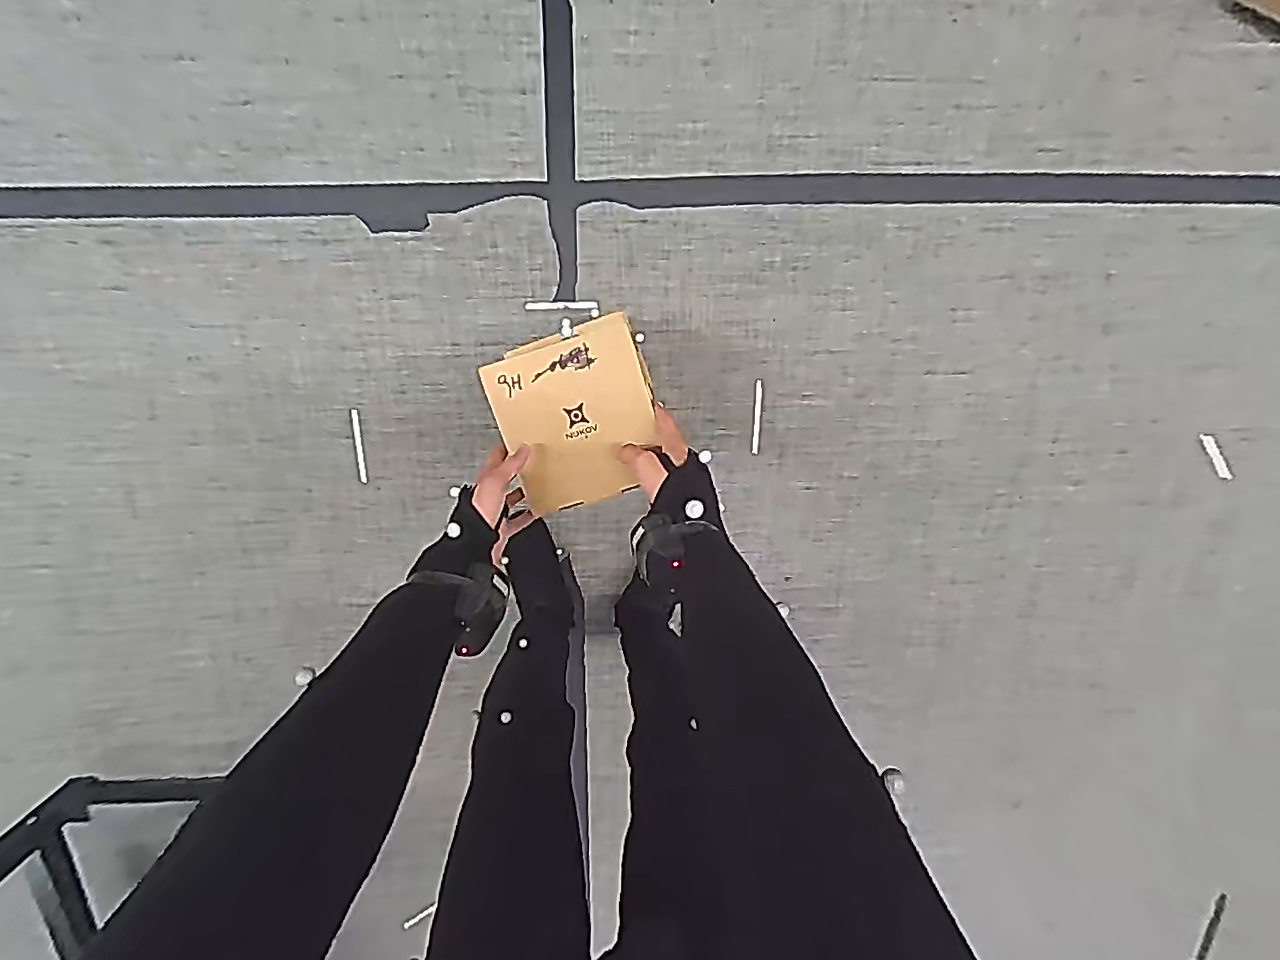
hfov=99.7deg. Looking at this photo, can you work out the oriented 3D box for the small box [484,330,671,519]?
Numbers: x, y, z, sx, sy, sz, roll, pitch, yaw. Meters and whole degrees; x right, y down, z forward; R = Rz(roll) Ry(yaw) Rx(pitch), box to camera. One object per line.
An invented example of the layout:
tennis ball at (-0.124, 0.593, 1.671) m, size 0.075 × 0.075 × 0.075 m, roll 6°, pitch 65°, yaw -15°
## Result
small box at (-0.066, -0.076, 0.664) m, size 0.168 × 0.176 × 0.179 m, roll -17°, pitch 103°, yaw 2°
